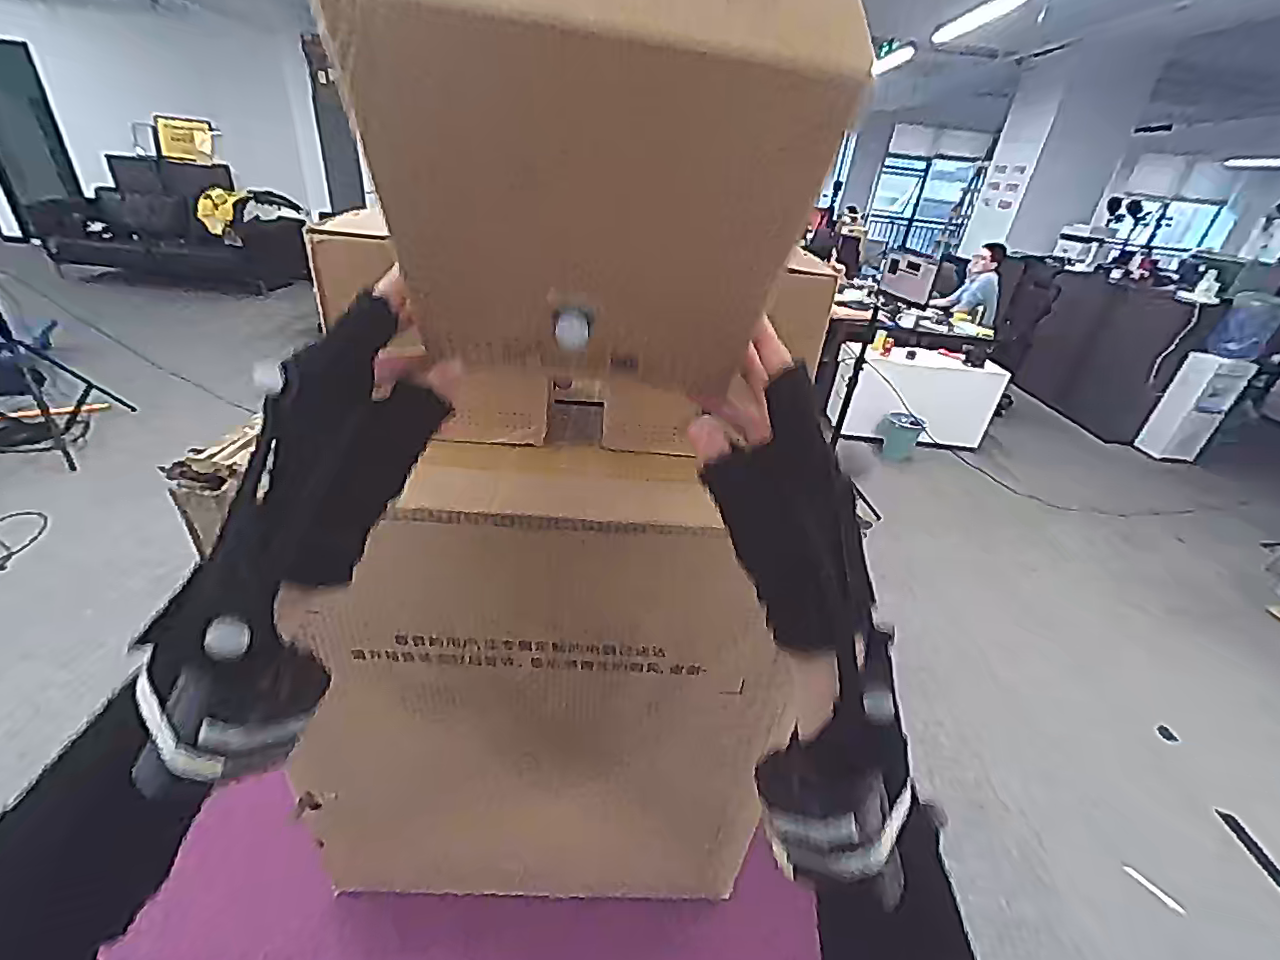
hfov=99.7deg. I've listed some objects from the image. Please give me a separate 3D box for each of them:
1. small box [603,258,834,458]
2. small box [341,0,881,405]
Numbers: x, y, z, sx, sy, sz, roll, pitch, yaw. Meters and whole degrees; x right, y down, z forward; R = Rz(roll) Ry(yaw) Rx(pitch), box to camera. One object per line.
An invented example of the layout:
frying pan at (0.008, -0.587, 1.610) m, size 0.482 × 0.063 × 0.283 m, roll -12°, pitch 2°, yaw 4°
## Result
small box at (0.060, -0.132, 0.523) m, size 0.179 × 0.176 × 0.168 m, roll 4°, pitch 30°, yaw -1°
small box at (-0.014, -0.163, 0.267) m, size 0.168 × 0.176 × 0.179 m, roll 5°, pitch 63°, yaw -6°
